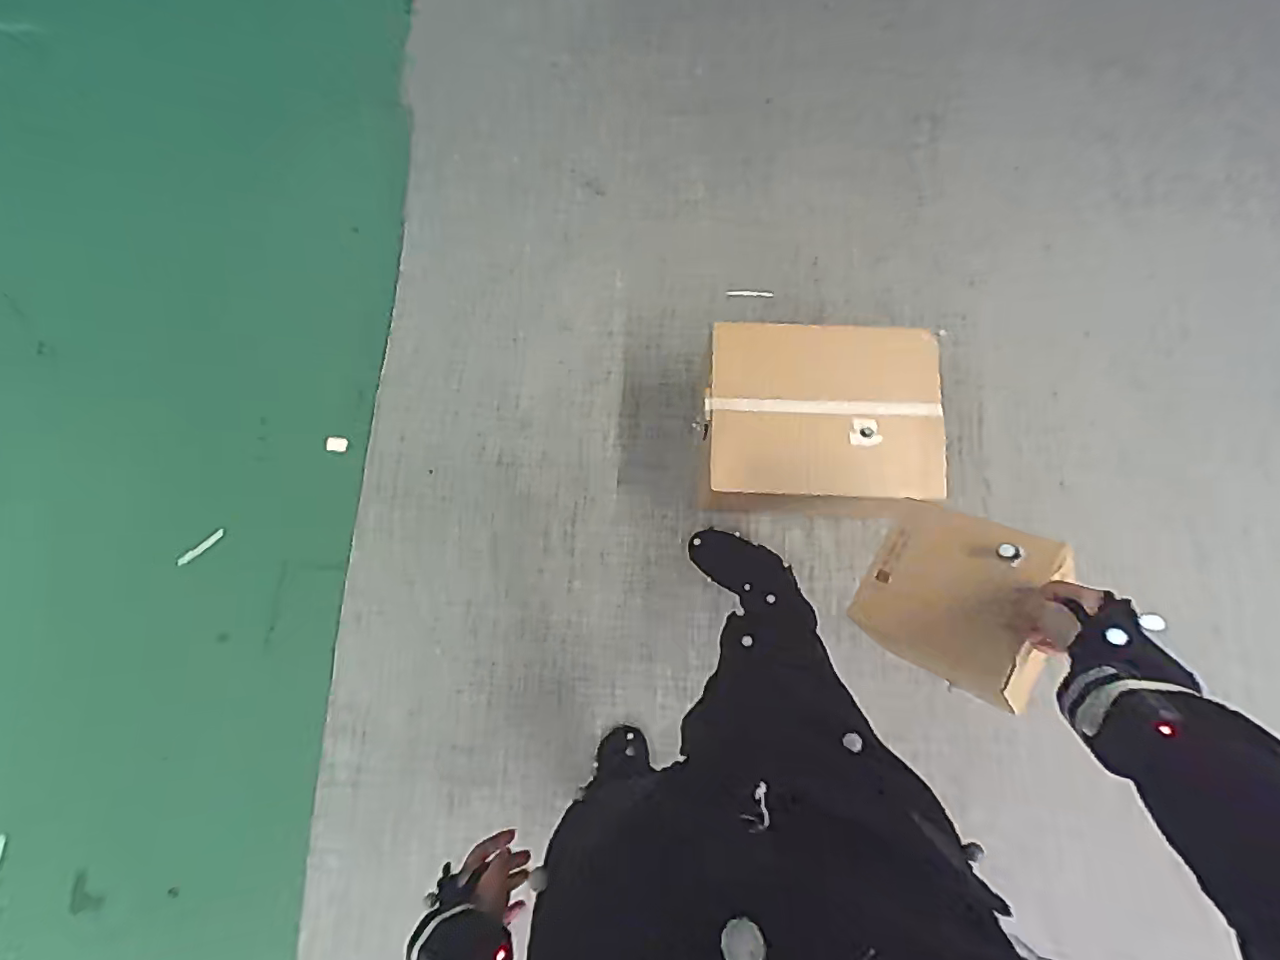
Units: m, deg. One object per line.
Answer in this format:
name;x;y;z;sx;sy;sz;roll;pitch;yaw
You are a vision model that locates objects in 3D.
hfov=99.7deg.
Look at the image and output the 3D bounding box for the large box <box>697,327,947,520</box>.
large box;0.327;-0.092;1.089;0.408;0.320;0.320;2;81;0
